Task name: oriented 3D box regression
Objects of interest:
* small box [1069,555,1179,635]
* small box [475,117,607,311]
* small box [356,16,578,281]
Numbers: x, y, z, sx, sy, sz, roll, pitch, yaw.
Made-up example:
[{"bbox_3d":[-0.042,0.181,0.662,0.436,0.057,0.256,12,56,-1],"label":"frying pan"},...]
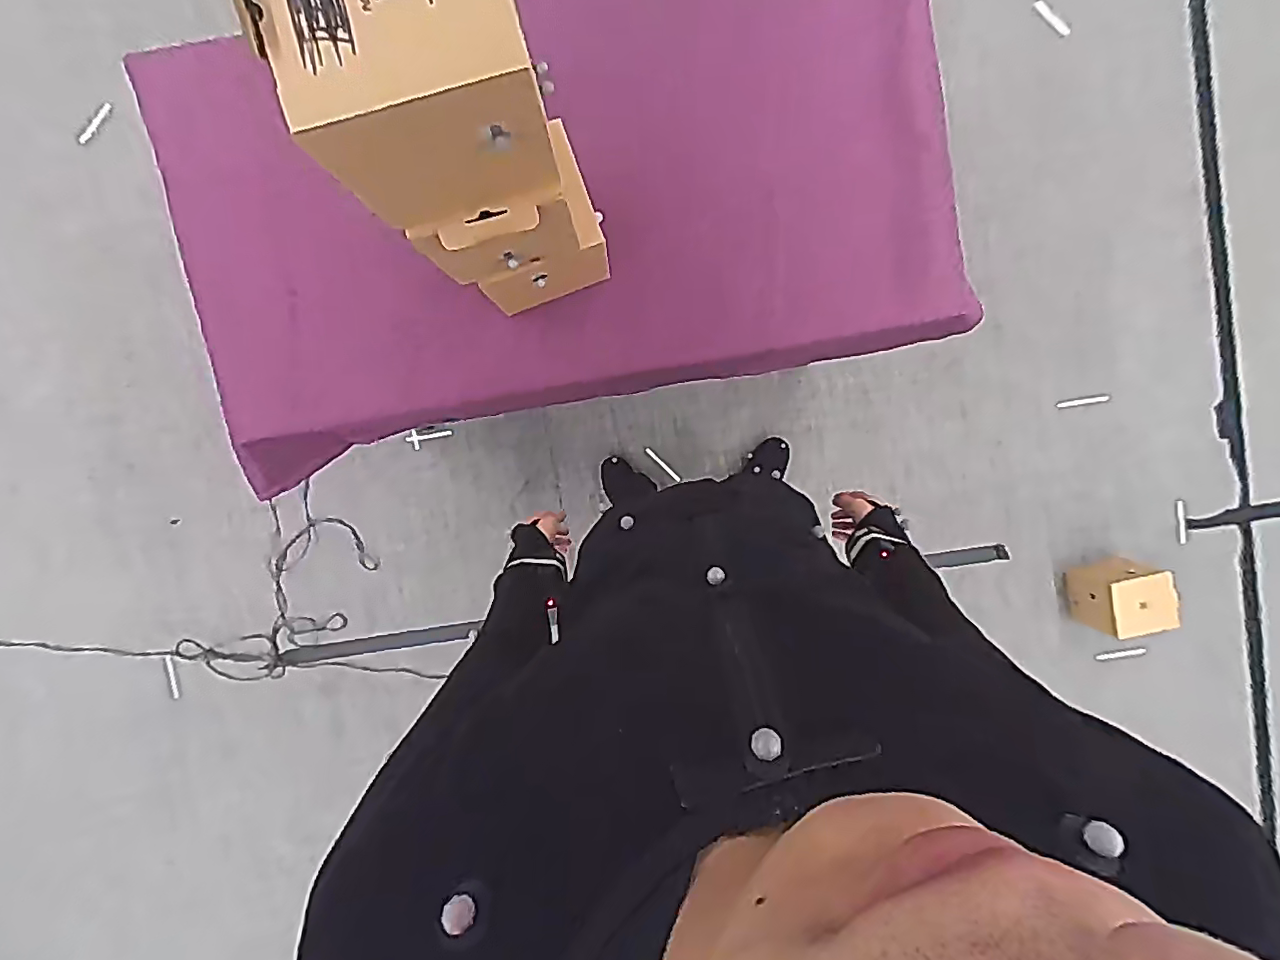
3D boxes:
[{"bbox_3d":[1.402,0.332,1.583,0.179,0.176,0.168,-13,95,0],"label":"small box"},{"bbox_3d":[-0.155,-0.360,0.769,0.179,0.176,0.168,-20,95,0],"label":"small box"},{"bbox_3d":[-0.175,-0.349,0.604,0.168,0.176,0.179,-15,95,1],"label":"small box"}]
